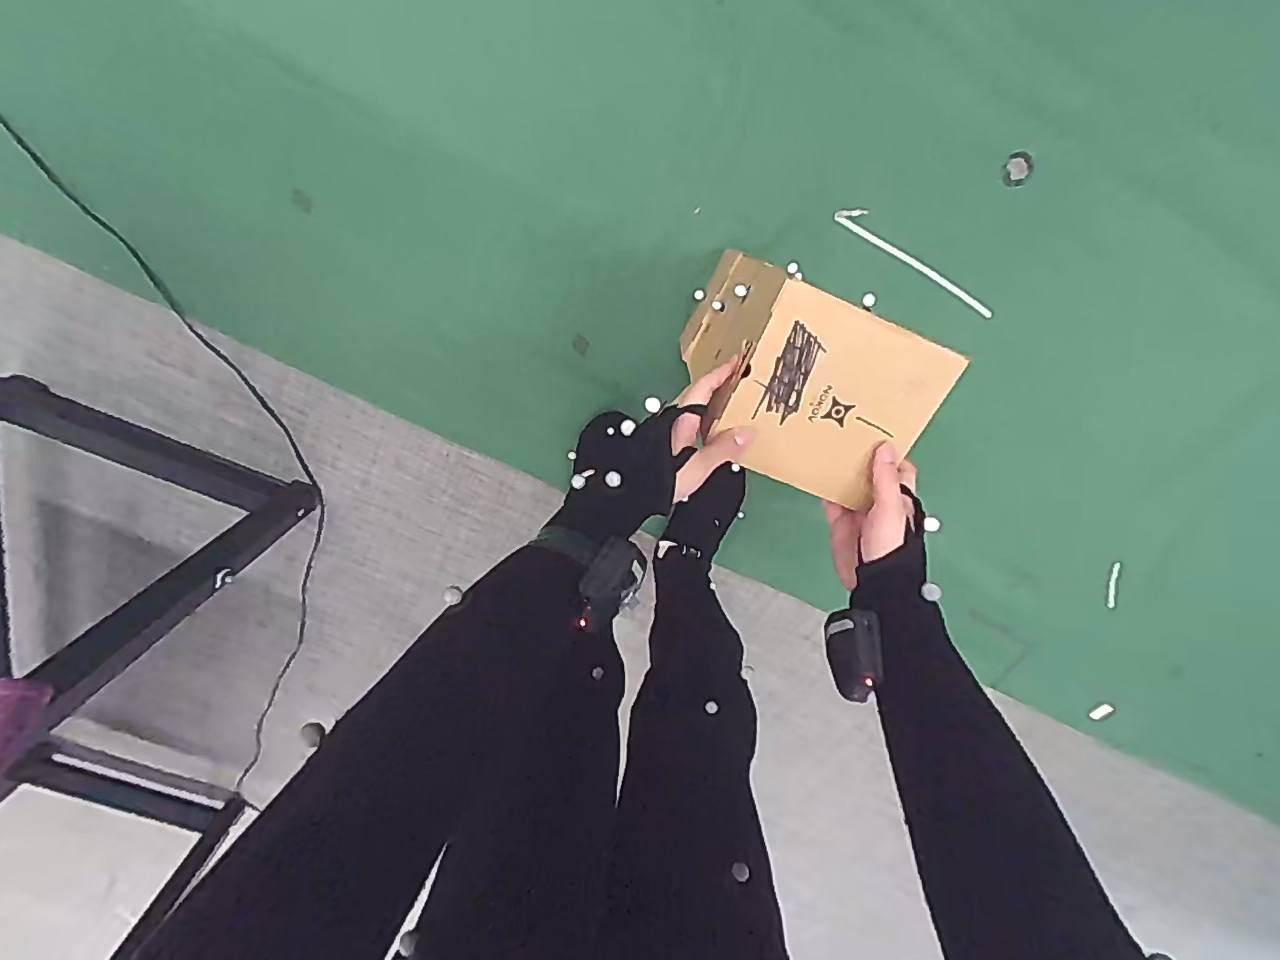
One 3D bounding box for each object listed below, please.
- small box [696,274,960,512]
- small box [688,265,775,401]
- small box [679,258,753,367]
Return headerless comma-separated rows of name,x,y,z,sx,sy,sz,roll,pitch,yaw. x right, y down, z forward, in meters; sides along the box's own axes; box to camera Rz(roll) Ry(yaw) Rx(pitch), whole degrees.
small box,0.167,-0.099,0.555,0.179,0.176,0.168,21,115,-8
small box,0.175,-0.166,0.705,0.179,0.176,0.168,23,114,-8
small box,0.174,-0.235,0.852,0.179,0.176,0.168,26,113,-9
